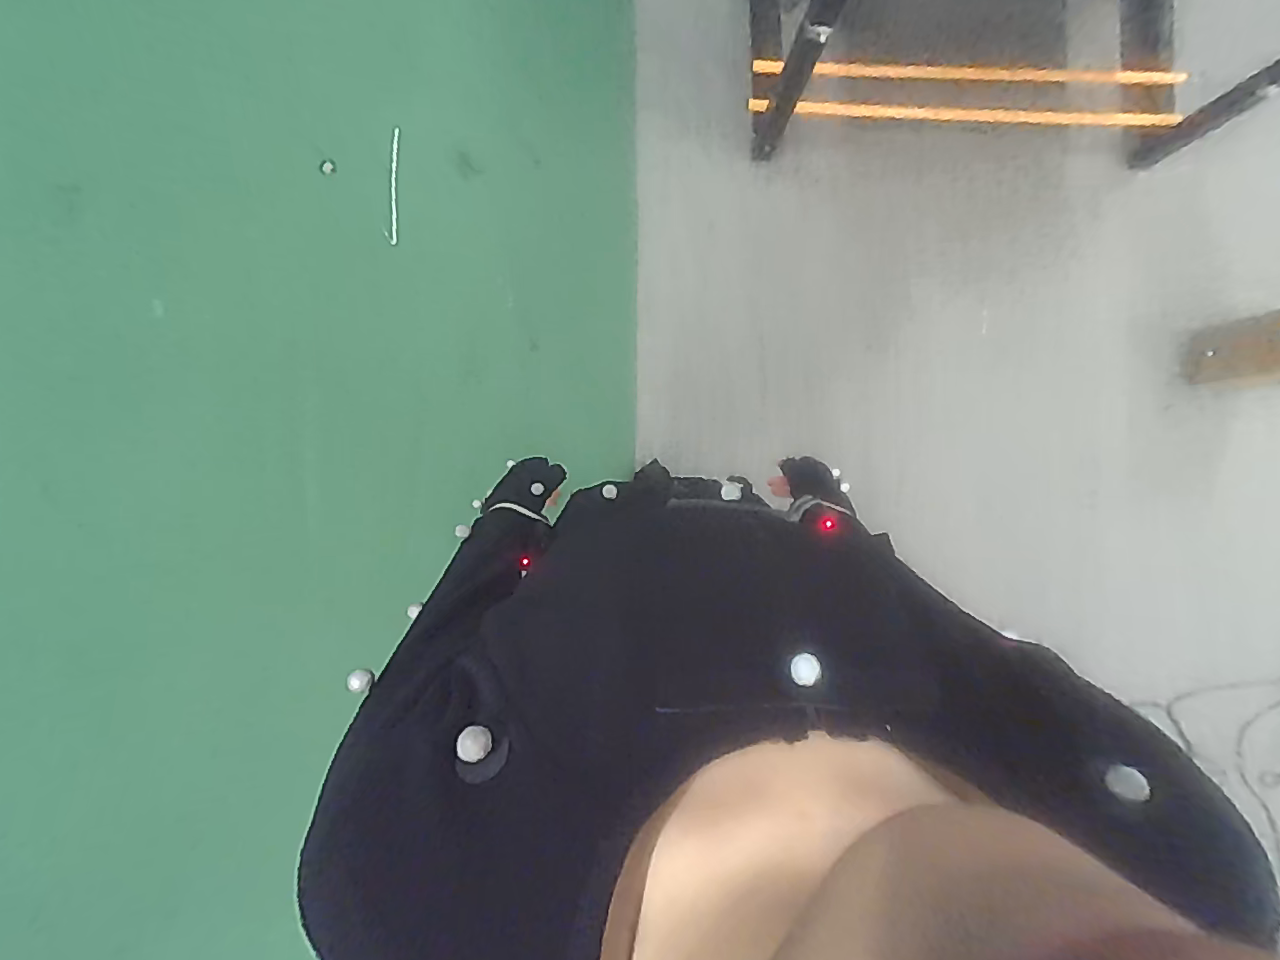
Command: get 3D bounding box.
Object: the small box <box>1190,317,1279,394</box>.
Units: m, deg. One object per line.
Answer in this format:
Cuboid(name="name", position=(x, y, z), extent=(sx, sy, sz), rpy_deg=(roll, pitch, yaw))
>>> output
Cuboid(name="small box", position=(1.696, -0.336, 1.495), extent=(0.179, 0.176, 0.168), rpy_deg=(5, 89, -3))
